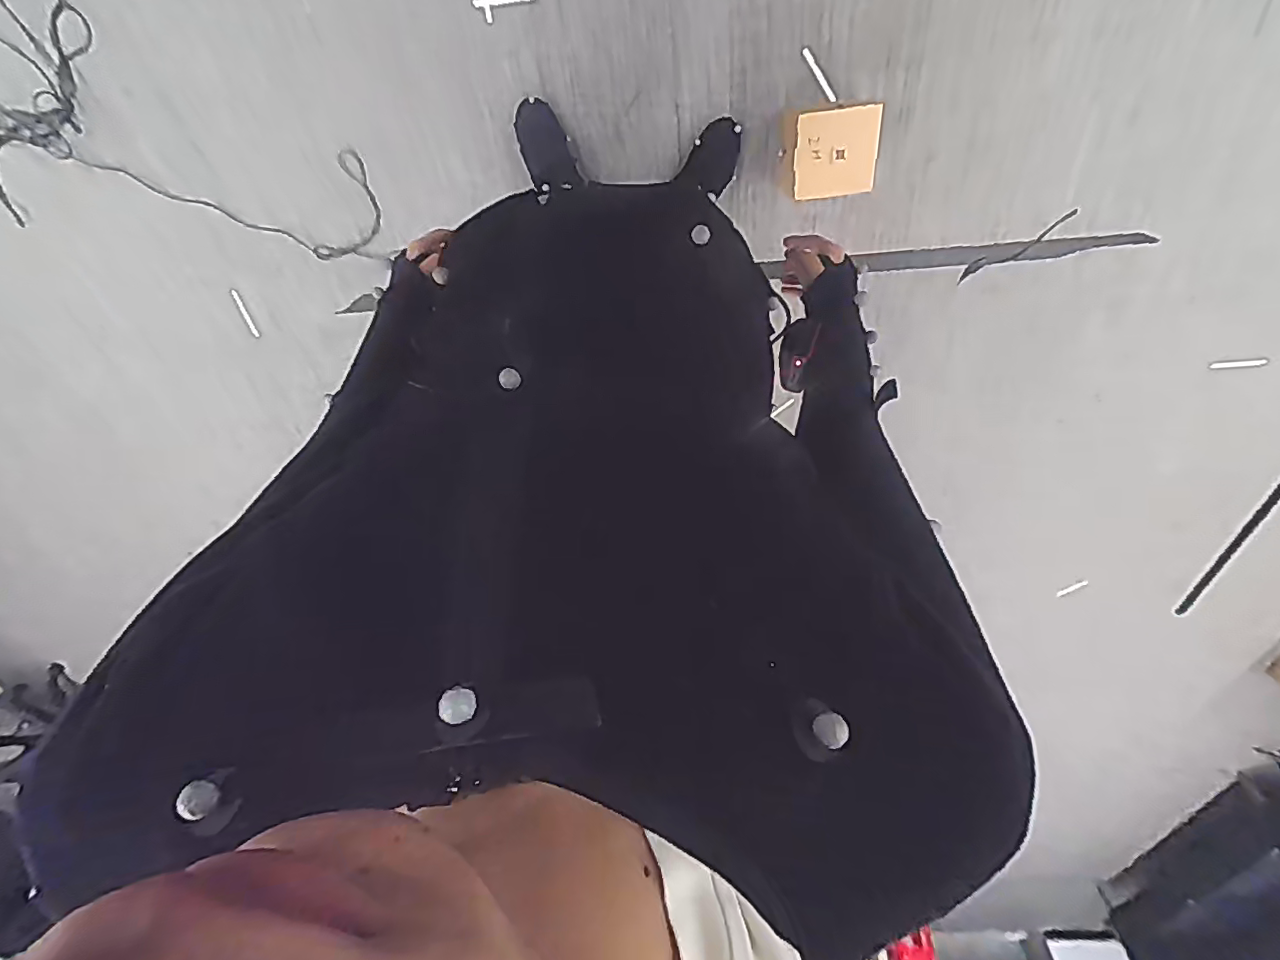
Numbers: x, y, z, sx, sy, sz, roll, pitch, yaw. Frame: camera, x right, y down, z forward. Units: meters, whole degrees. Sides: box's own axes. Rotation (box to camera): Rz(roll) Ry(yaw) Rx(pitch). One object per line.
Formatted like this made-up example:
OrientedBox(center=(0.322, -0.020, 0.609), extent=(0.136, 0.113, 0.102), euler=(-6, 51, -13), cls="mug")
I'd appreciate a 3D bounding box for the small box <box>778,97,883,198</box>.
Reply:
OrientedBox(center=(0.419, -0.751, 1.218), extent=(0.179, 0.176, 0.168), euler=(-4, 128, 4), cls="small box")
